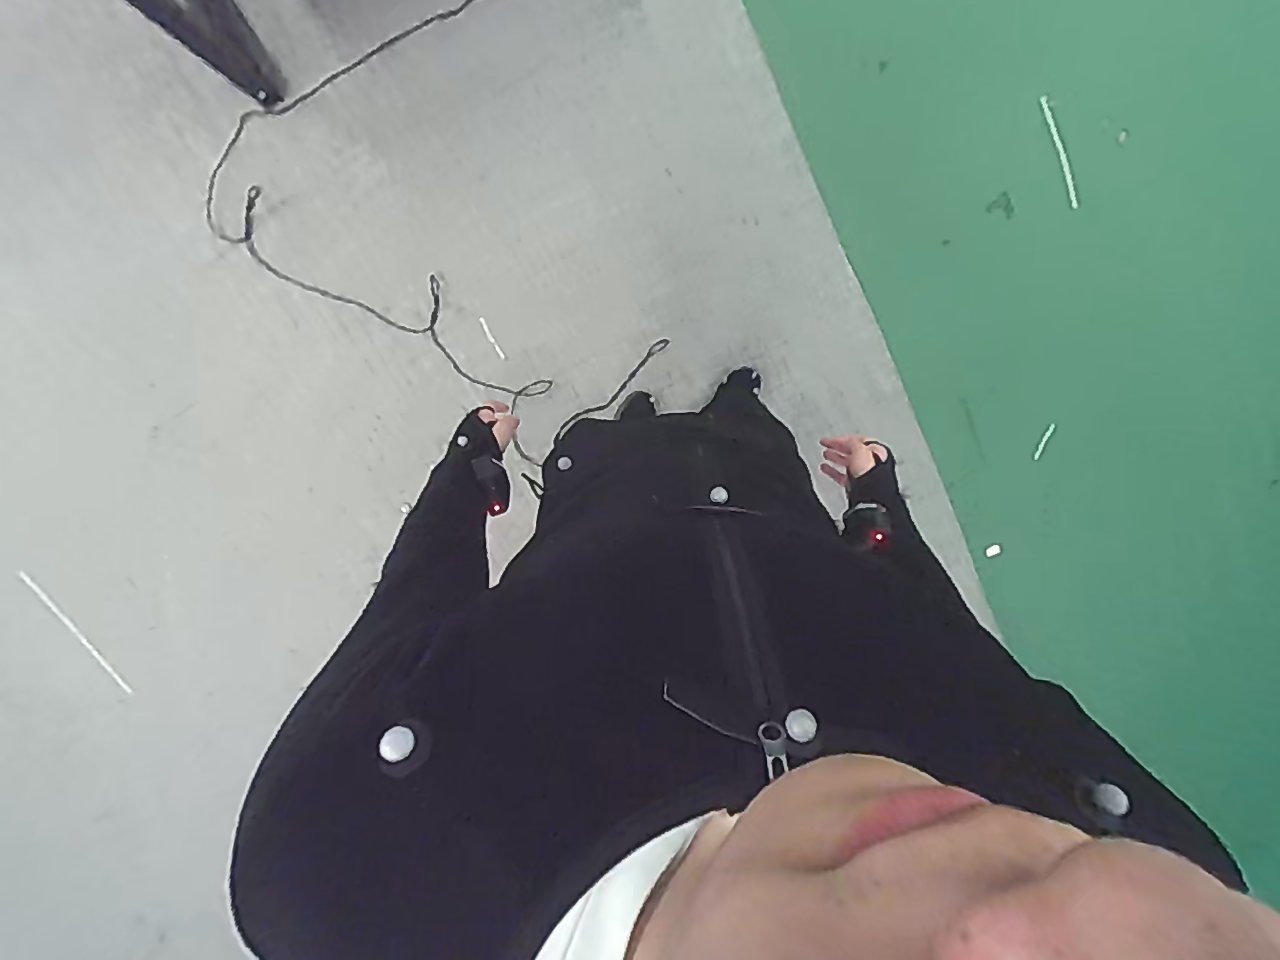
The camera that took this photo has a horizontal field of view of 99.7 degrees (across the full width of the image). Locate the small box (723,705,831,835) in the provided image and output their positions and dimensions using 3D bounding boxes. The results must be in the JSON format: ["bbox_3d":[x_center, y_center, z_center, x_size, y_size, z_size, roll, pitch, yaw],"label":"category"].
[{"bbox_3d":[0.309,0.671,1.268,0.179,0.176,0.168,-27,103,0],"label":"small box"}]
